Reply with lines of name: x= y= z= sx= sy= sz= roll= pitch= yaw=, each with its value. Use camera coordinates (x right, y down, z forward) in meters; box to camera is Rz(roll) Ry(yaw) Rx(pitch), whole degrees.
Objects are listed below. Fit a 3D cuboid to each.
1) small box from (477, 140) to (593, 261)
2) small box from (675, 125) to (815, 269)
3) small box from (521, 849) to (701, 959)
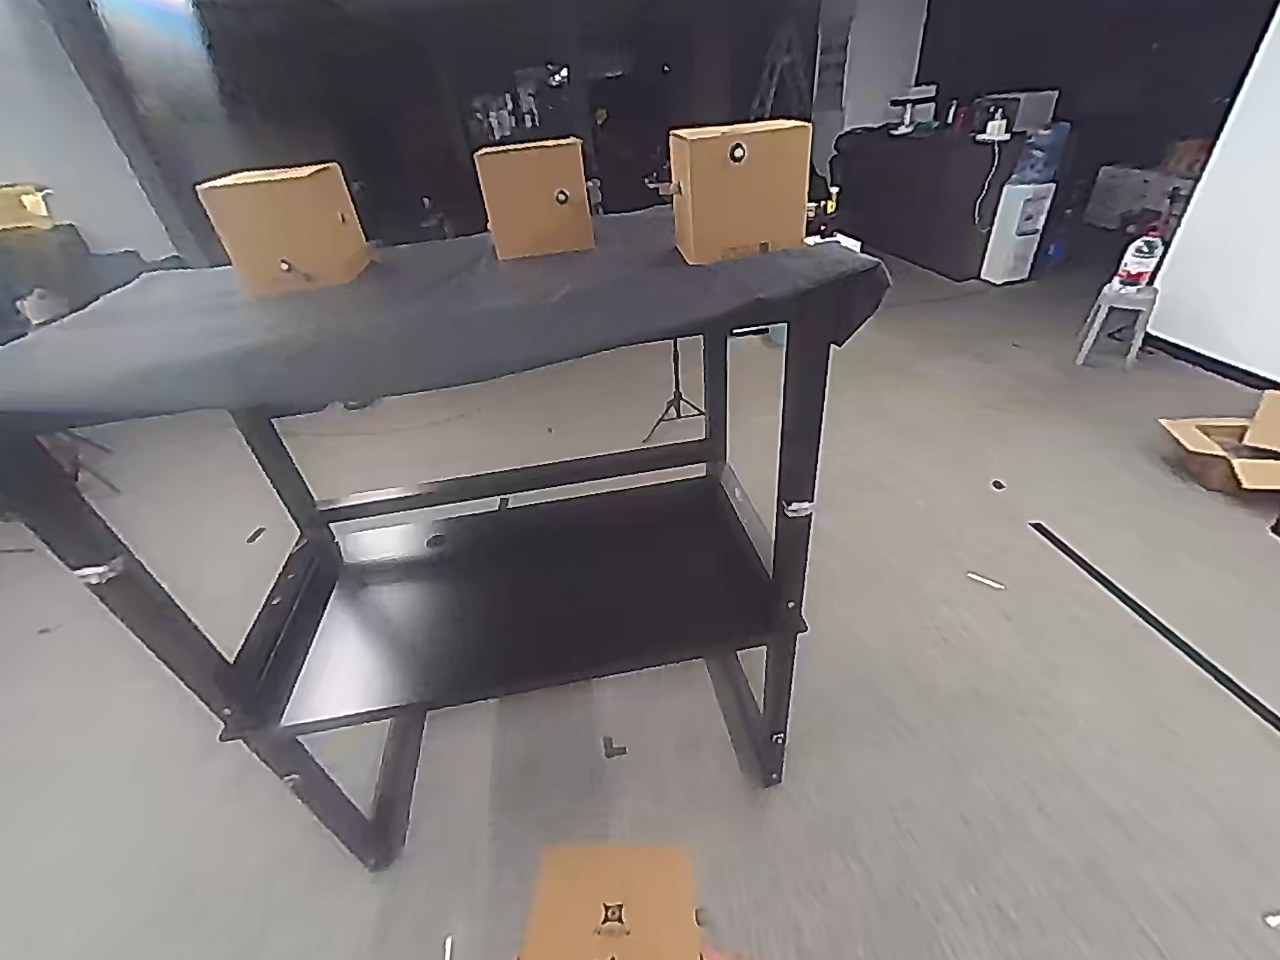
small box: x=-0.180 y=-0.510 z=0.984 sx=0.179 sy=0.176 sz=0.168 roll=-8 pitch=34 yaw=-3
small box: x=0.146 y=-0.425 z=0.812 sx=0.168 sy=0.176 sz=0.179 roll=-8 pitch=34 yaw=-1
small box: x=-0.027 y=0.507 z=0.530 sx=0.168 sy=0.176 sz=0.179 roll=0 pitch=11 yaw=0
